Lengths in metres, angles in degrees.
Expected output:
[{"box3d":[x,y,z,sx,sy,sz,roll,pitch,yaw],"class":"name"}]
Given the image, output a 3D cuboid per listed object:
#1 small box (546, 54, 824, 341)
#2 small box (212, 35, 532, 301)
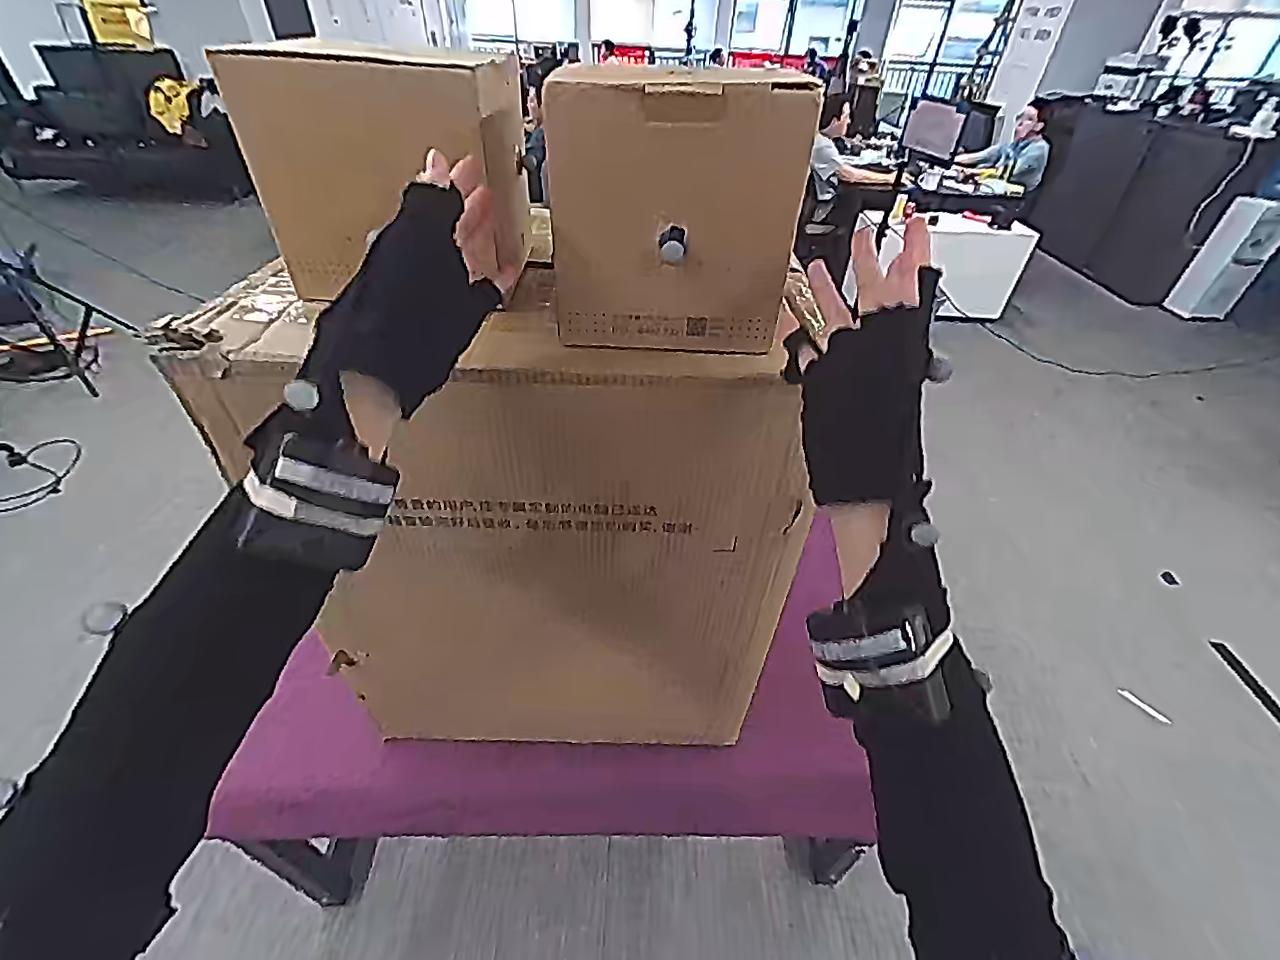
[{"box3d":[0.028,-0.222,0.426,0.168,0.176,0.179,3,40,0],"class":"small box"},{"box3d":[-0.192,-0.263,0.460,0.179,0.176,0.168,1,40,-2],"class":"small box"}]
